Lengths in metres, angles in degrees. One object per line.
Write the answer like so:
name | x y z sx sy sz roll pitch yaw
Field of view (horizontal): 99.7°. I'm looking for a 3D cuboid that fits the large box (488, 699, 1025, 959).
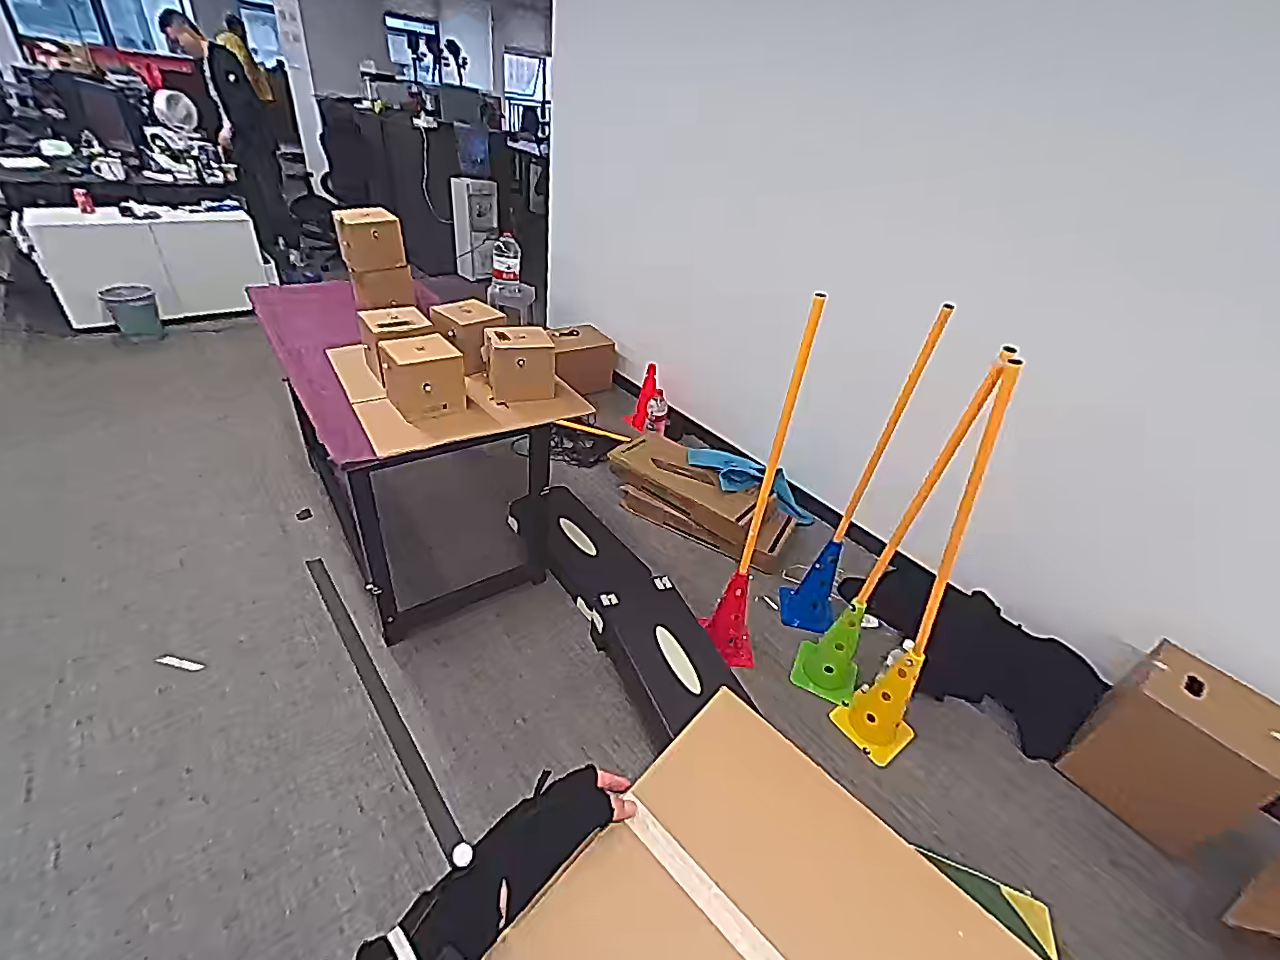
large box | 0.109 0.508 0.505 0.408 0.320 0.320 36 49 27
